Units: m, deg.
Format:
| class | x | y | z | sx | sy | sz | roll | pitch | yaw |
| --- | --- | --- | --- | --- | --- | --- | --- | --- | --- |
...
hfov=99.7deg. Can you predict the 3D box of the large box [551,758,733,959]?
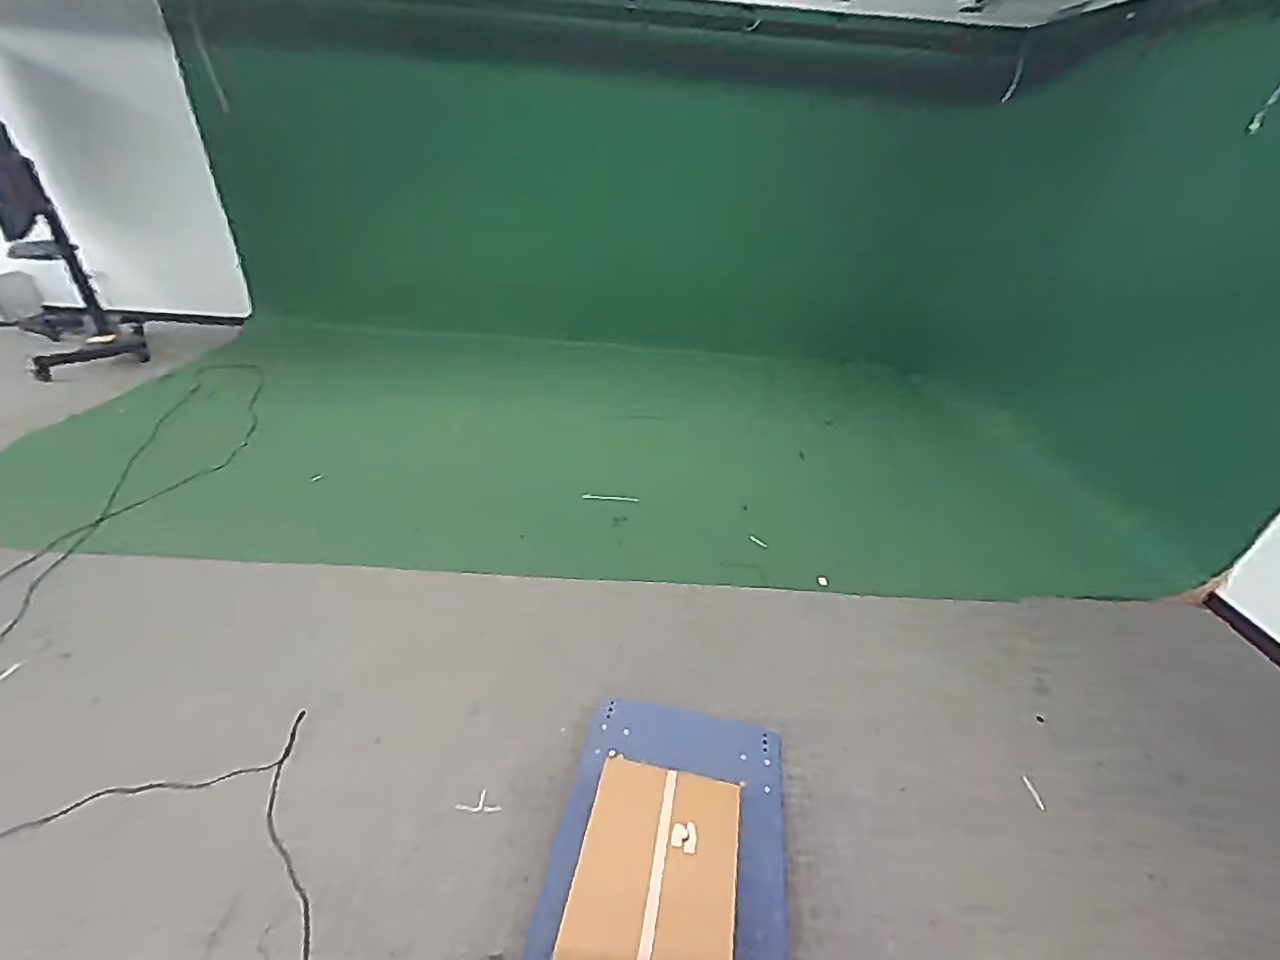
| class | x | y | z | sx | sy | sz | roll | pitch | yaw |
| --- | --- | --- | --- | --- | --- | --- | --- | --- | --- |
| large box | 0.019 | 0.898 | 1.156 | 0.320 | 0.320 | 0.408 | 9 | 31 | 8 |
